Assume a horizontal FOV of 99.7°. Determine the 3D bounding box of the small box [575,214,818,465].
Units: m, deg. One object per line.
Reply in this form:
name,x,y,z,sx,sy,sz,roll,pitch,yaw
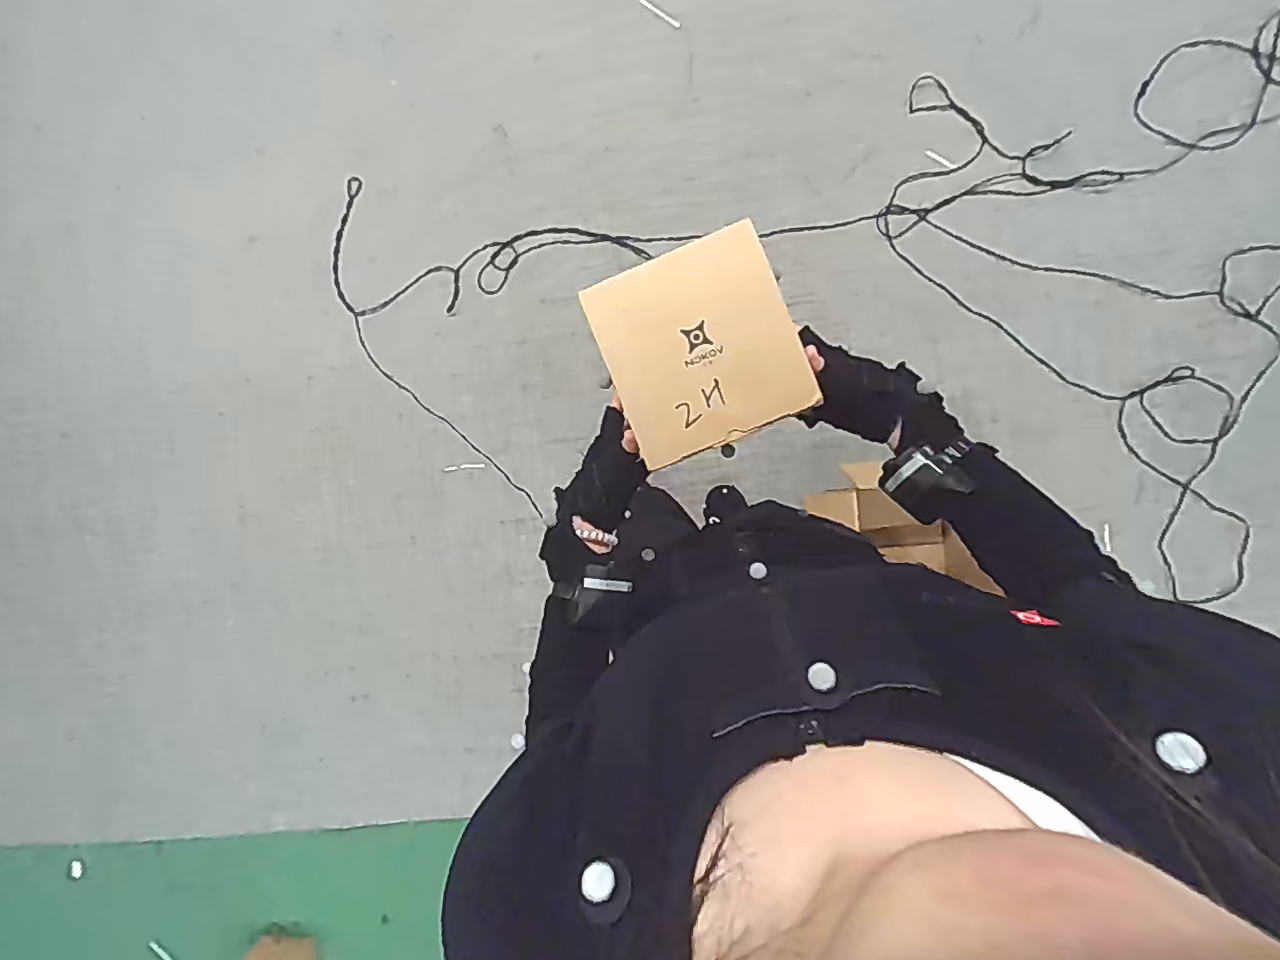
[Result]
small box,0.052,-0.121,0.545,0.168,0.176,0.179,-22,90,5
